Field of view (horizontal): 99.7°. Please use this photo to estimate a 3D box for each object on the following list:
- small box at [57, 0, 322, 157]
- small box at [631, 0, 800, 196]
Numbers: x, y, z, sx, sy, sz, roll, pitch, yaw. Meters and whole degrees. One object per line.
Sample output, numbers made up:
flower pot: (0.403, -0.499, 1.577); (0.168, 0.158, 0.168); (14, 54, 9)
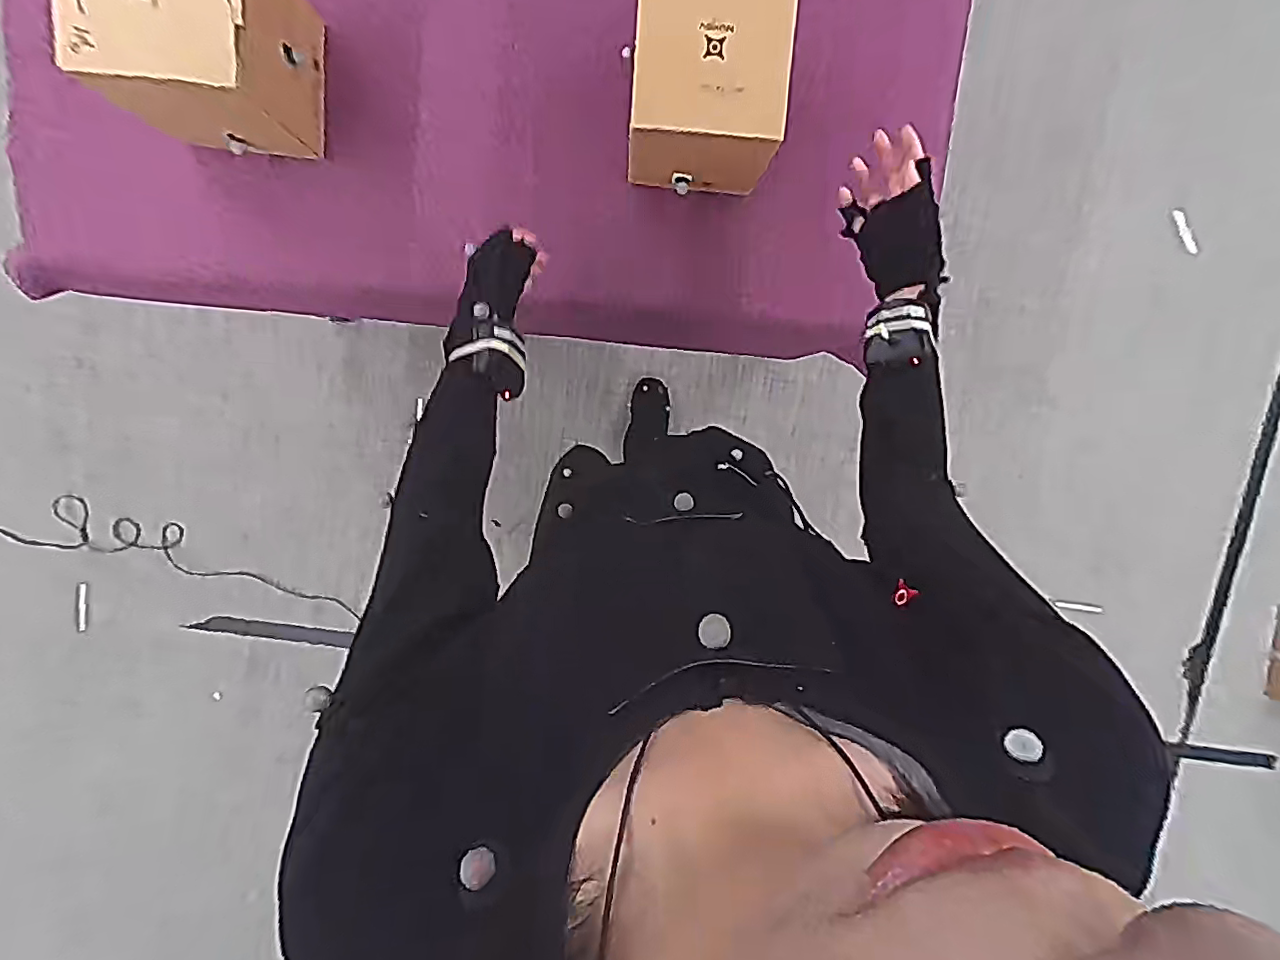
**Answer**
small box: (-0.484, -0.490, 0.607); (0.179, 0.176, 0.168); (4, 98, -4)
small box: (0.077, -0.463, 0.638); (0.168, 0.176, 0.179); (3, 99, -2)
